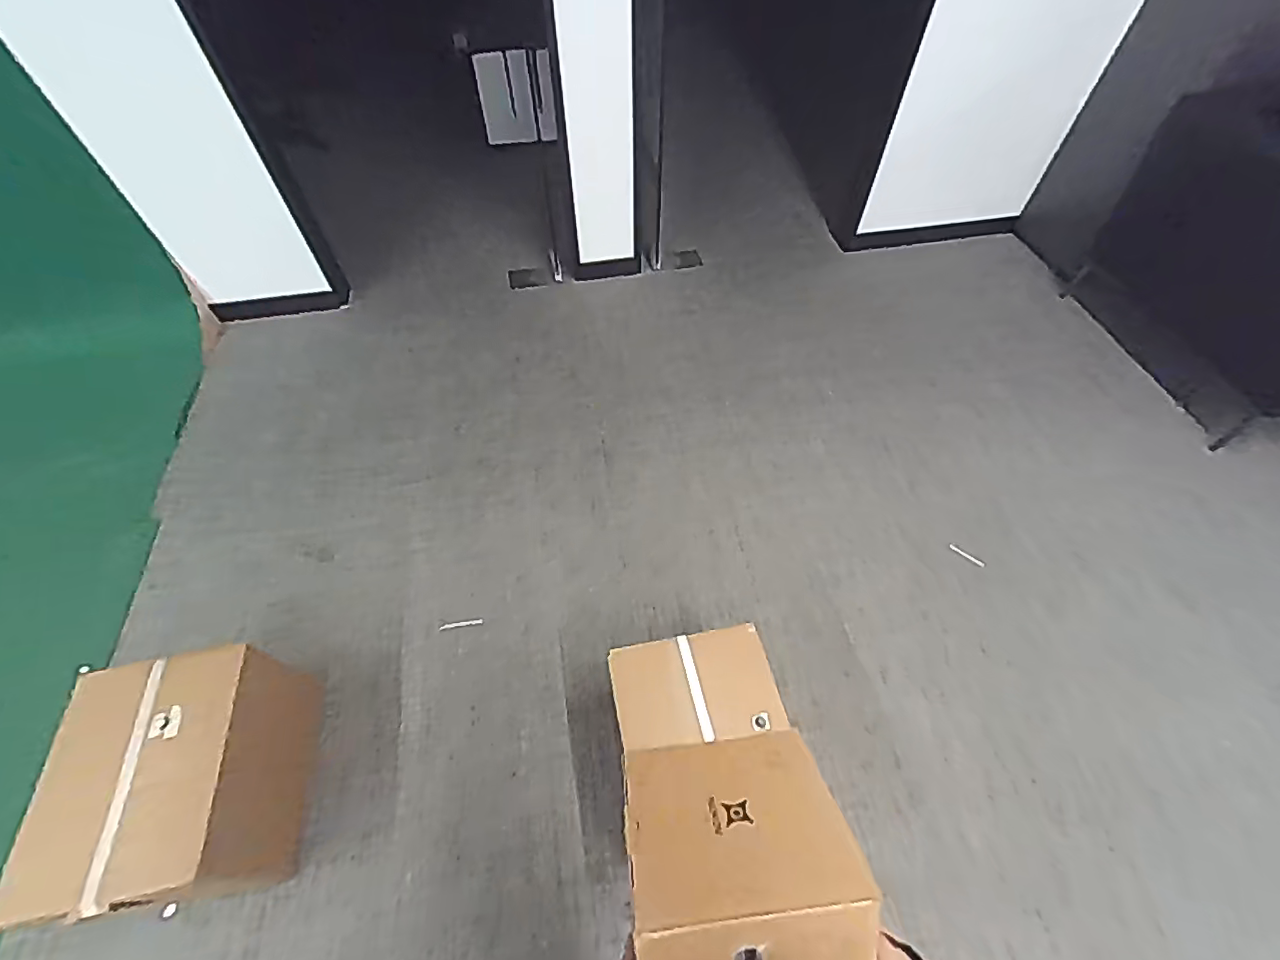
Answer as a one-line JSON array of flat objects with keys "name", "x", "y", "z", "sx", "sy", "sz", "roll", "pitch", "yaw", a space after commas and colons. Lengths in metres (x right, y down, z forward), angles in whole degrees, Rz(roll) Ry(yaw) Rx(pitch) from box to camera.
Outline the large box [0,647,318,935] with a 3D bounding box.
[{"name": "large box", "x": -0.897, "y": 0.608, "z": 1.082, "sx": 0.320, "sy": 0.320, "sz": 0.408, "roll": -10, "pitch": 54, "yaw": -6}]

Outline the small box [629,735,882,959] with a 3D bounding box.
[{"name": "small box", "x": 0.087, "y": 0.361, "z": 0.476, "sx": 0.179, "sy": 0.176, "sz": 0.168, "roll": -7, "pitch": 16, "yaw": -3}]
